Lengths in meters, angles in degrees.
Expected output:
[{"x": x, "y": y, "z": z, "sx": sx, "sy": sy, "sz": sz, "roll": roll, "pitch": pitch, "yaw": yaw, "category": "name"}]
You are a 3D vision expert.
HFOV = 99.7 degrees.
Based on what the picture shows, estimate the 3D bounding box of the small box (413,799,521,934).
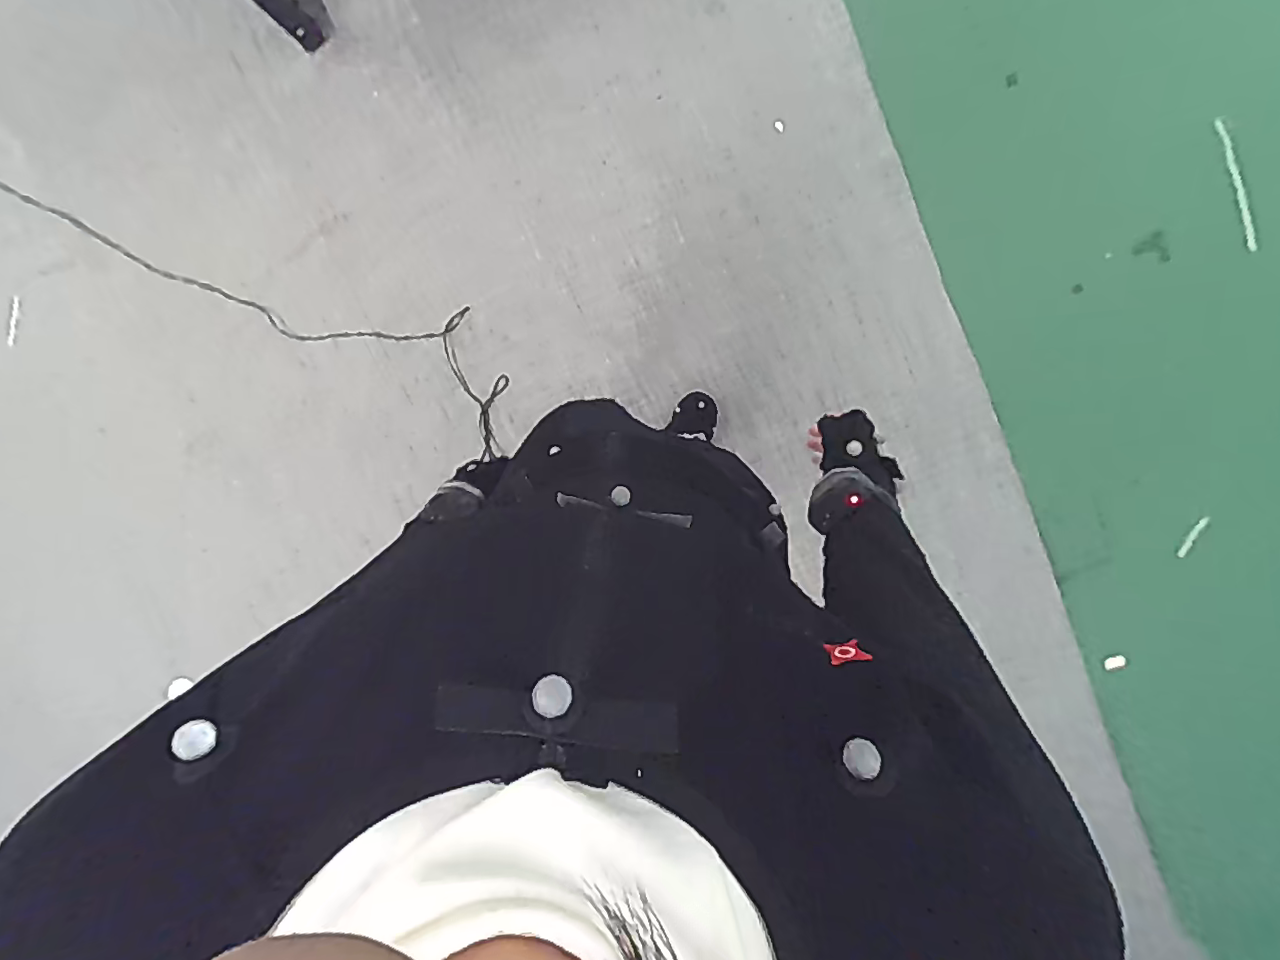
[{"x": -0.379, "y": 0.853, "z": 1.209, "sx": 0.179, "sy": 0.176, "sz": 0.168, "roll": 11, "pitch": 101, "yaw": 3, "category": "small box"}]
